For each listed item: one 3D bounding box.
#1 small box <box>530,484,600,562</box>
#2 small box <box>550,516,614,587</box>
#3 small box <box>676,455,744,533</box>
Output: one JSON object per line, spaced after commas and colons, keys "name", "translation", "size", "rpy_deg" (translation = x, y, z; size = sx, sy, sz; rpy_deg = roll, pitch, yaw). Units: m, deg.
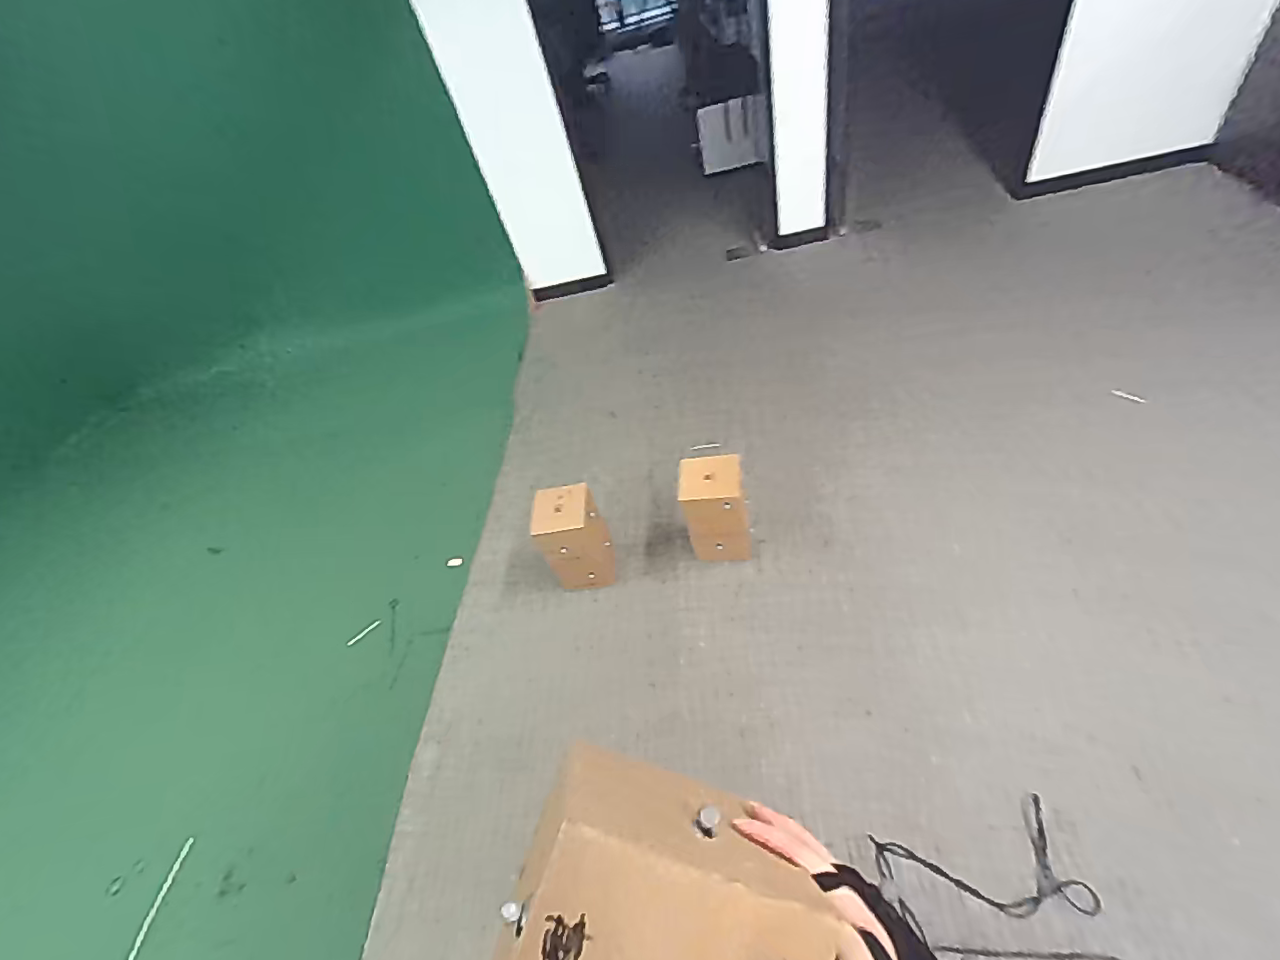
{"name": "small box", "translation": [-0.226, 0.140, 1.677], "size": [0.168, 0.176, 0.179], "rpy_deg": [-9, 47, 9]}
{"name": "small box", "translation": [-0.187, 0.245, 1.797], "size": [0.168, 0.176, 0.179], "rpy_deg": [-8, 47, 10]}
{"name": "small box", "translation": [0.214, 0.047, 1.619], "size": [0.179, 0.176, 0.168], "rpy_deg": [-5, 47, 14]}
